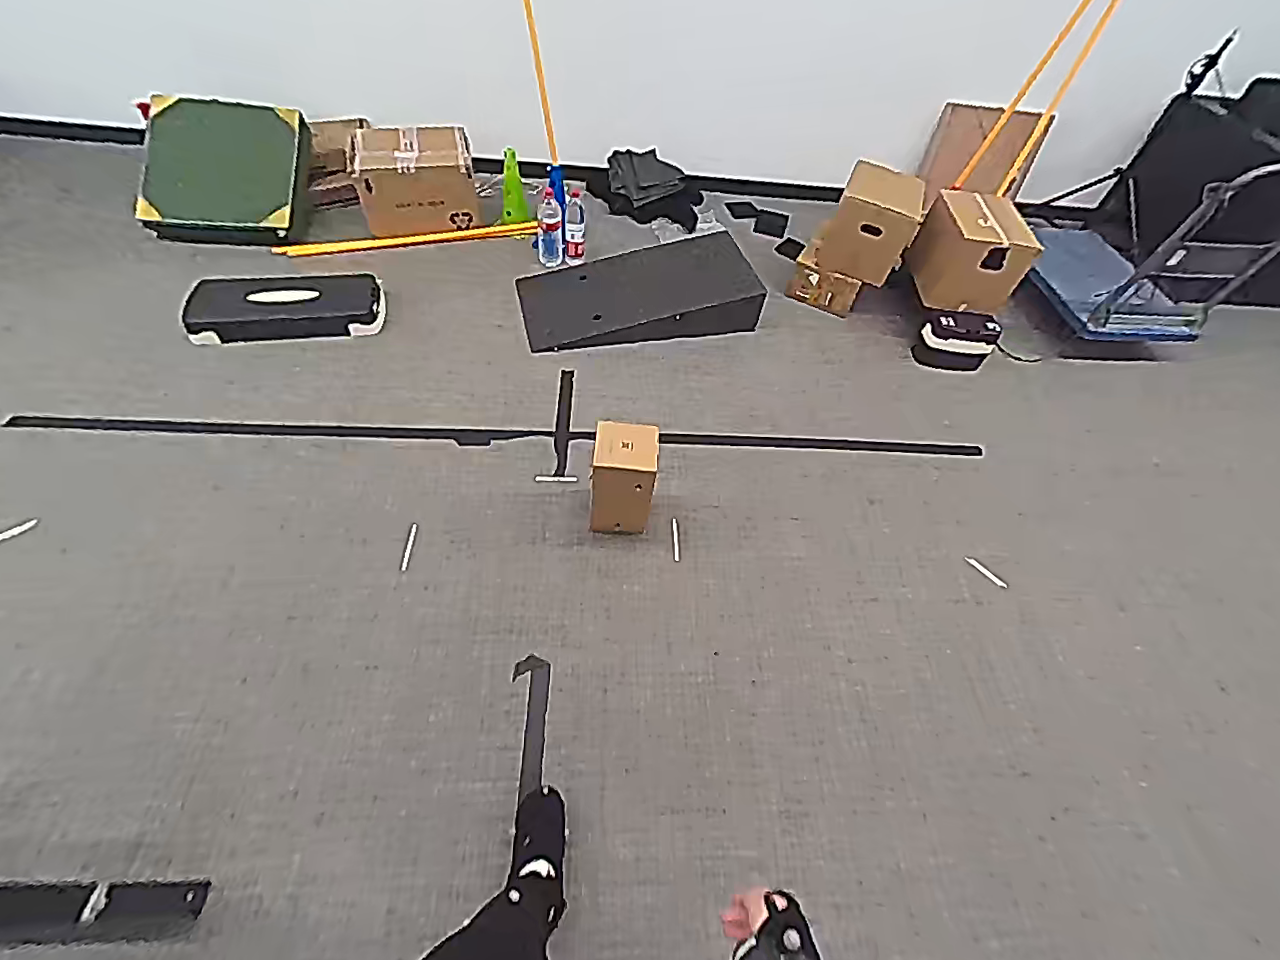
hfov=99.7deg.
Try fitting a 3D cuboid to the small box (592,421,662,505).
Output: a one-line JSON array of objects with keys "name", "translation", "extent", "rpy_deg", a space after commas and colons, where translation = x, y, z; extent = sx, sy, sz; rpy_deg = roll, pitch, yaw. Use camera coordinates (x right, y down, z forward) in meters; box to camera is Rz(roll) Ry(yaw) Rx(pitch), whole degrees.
[{"name": "small box", "translation": [-0.039, -0.043, 1.536], "extent": [0.179, 0.176, 0.168], "rpy_deg": [6, 53, -2]}]

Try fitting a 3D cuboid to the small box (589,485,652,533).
[{"name": "small box", "translation": [-0.061, 0.052, 1.668], "extent": [0.179, 0.176, 0.168], "rpy_deg": [4, 53, -6]}]
